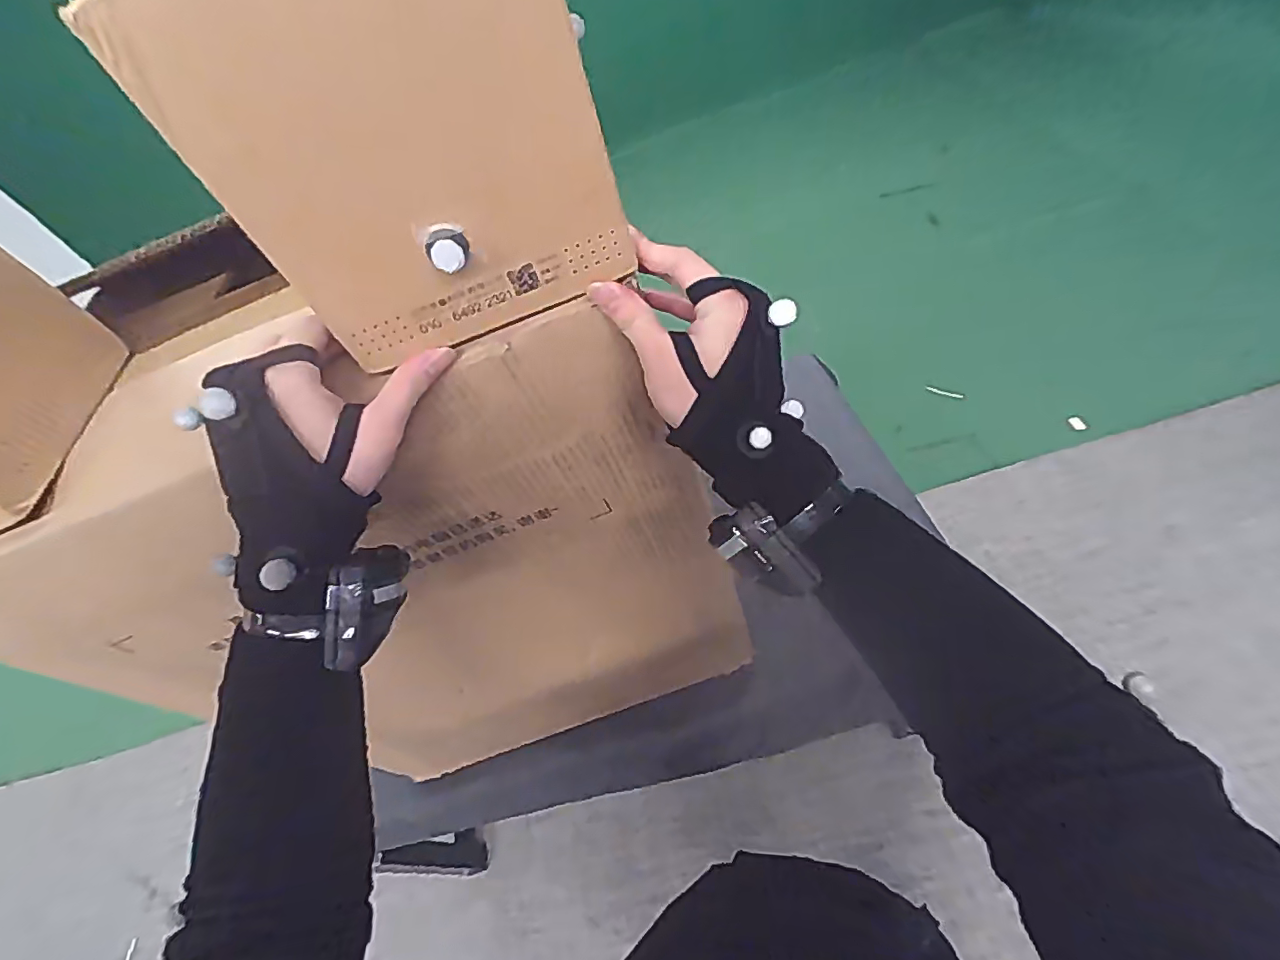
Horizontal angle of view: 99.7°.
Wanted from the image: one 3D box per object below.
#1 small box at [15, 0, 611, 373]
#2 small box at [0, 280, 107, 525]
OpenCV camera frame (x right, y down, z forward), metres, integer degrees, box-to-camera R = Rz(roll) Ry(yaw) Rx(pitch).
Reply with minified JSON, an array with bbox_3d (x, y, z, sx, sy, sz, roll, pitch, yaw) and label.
[{"bbox_3d":[-0.129,-0.190,0.287,0.168,0.176,0.179,-21,52,3],"label":"small box"},{"bbox_3d":[-0.482,-0.052,0.314,0.168,0.176,0.179,-22,51,4],"label":"small box"}]
